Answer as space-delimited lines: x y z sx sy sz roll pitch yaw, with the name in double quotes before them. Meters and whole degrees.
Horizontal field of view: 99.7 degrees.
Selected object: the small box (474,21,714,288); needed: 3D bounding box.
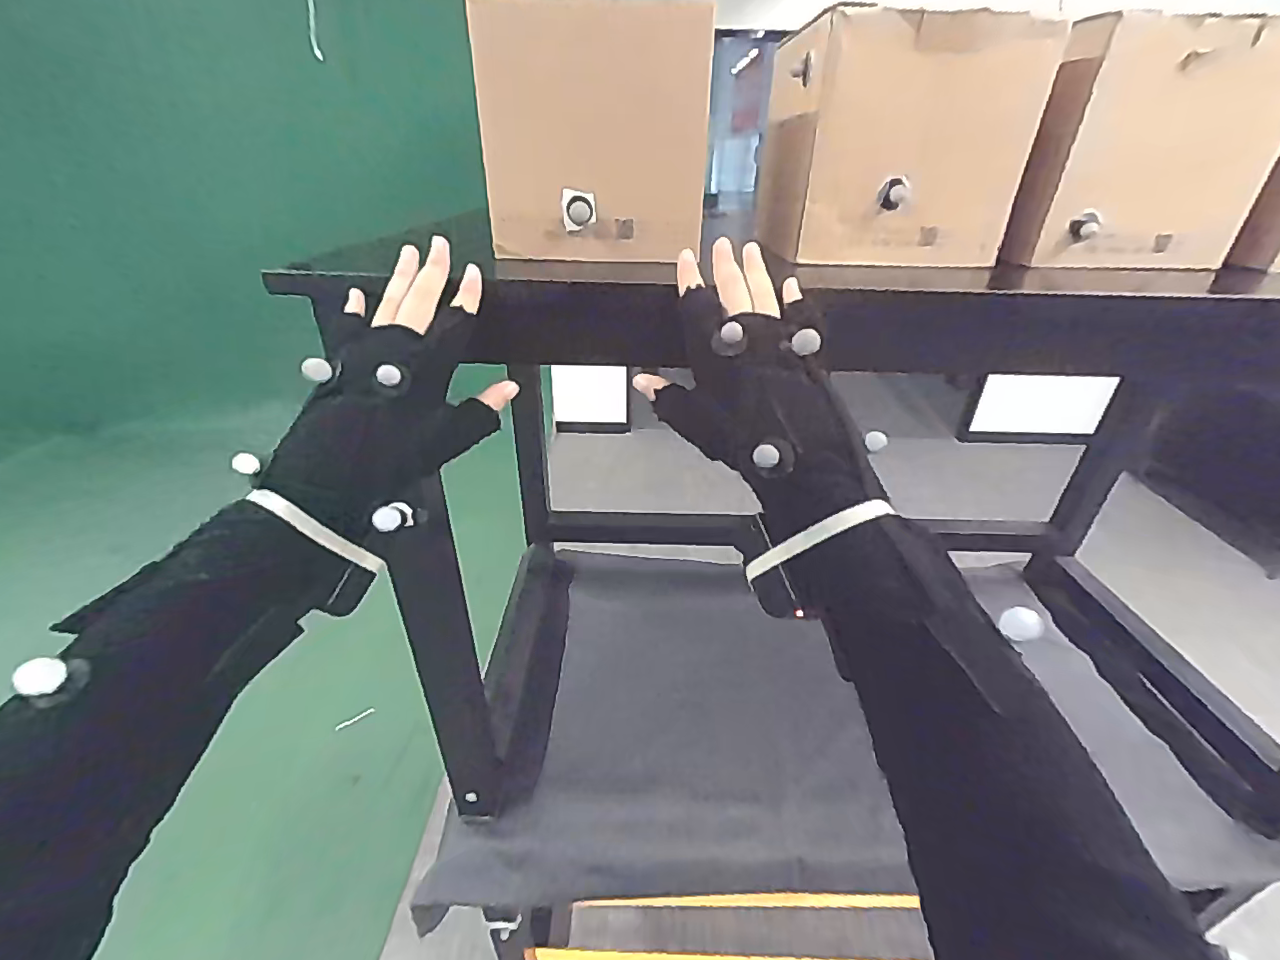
"small box" -0.034 -0.275 0.474 0.168 0.176 0.179 -1 32 -1
